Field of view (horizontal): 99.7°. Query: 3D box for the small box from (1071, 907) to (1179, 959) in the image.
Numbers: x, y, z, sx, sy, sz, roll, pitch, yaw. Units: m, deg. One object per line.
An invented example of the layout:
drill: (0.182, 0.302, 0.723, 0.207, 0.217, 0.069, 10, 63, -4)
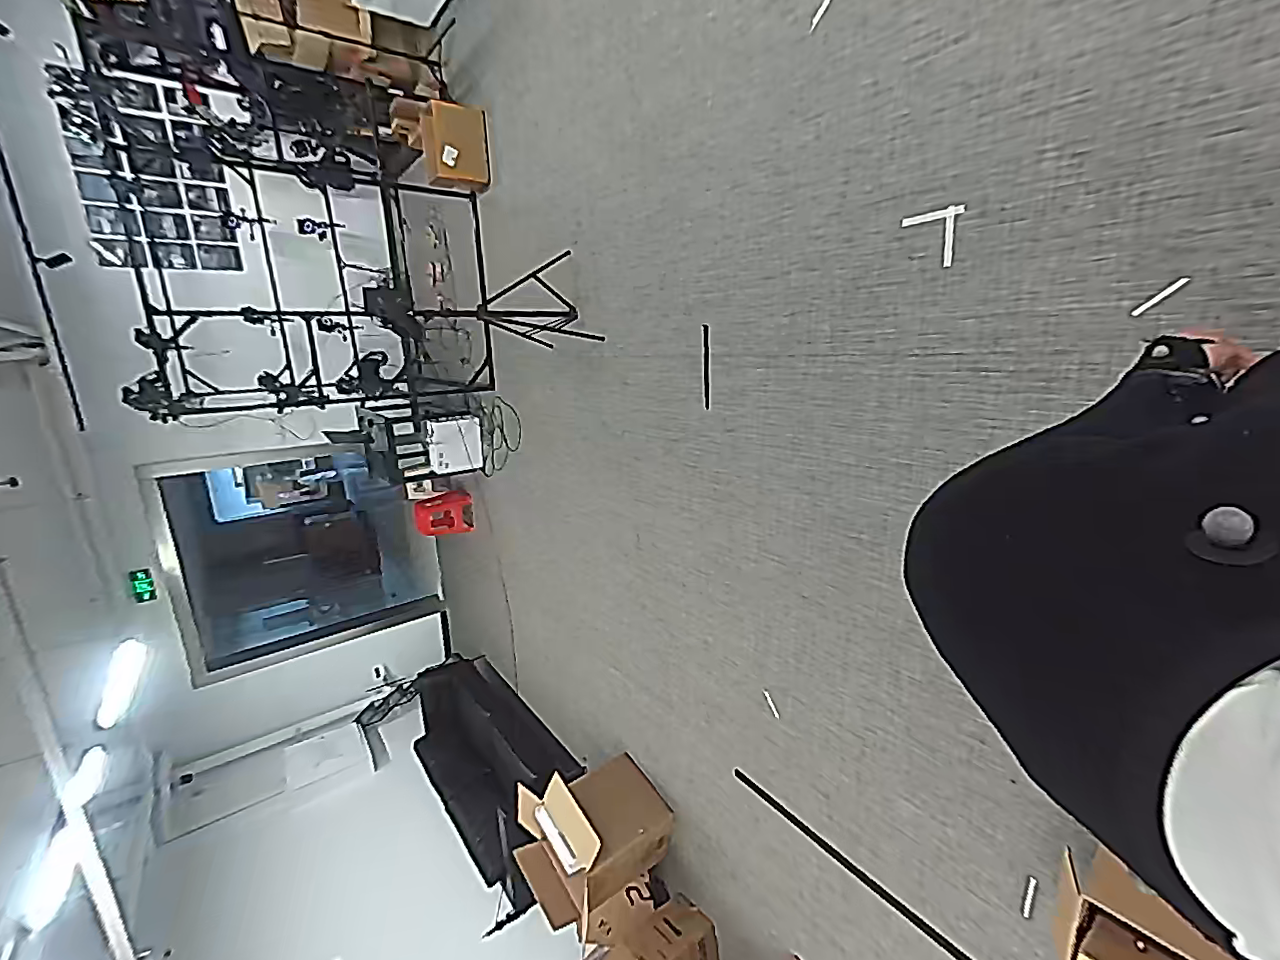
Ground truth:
small box: (1.111, 1.155, 1.244, 0.168, 0.176, 0.179, 19, 115, 50)
